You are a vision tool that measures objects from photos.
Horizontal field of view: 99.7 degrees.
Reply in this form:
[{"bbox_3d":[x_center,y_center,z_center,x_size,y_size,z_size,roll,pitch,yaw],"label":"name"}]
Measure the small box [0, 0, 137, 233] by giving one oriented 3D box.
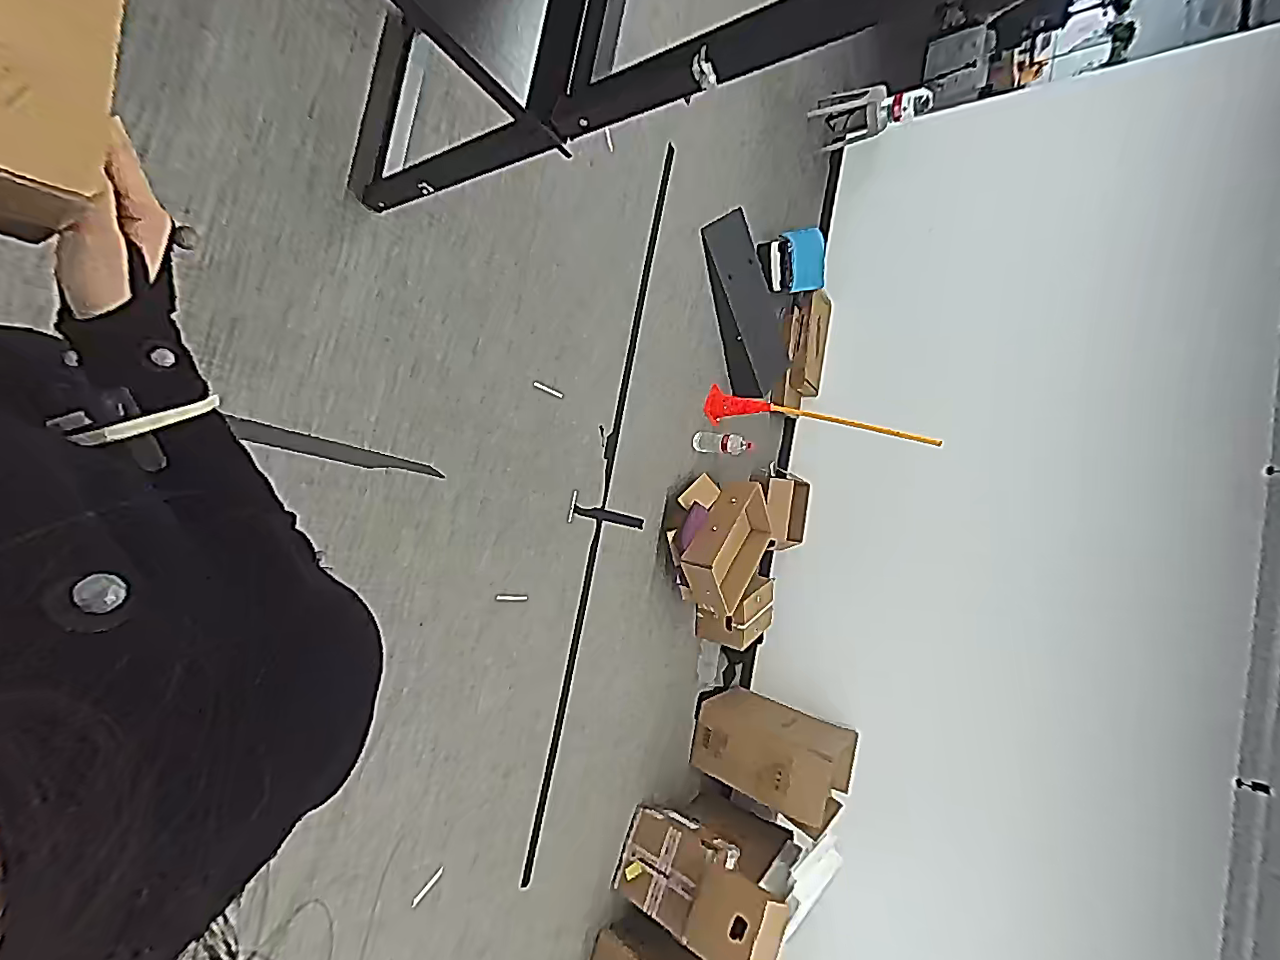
[{"bbox_3d":[-0.346,-0.227,0.231,0.168,0.176,0.179,5,95,-56],"label":"small box"}]
